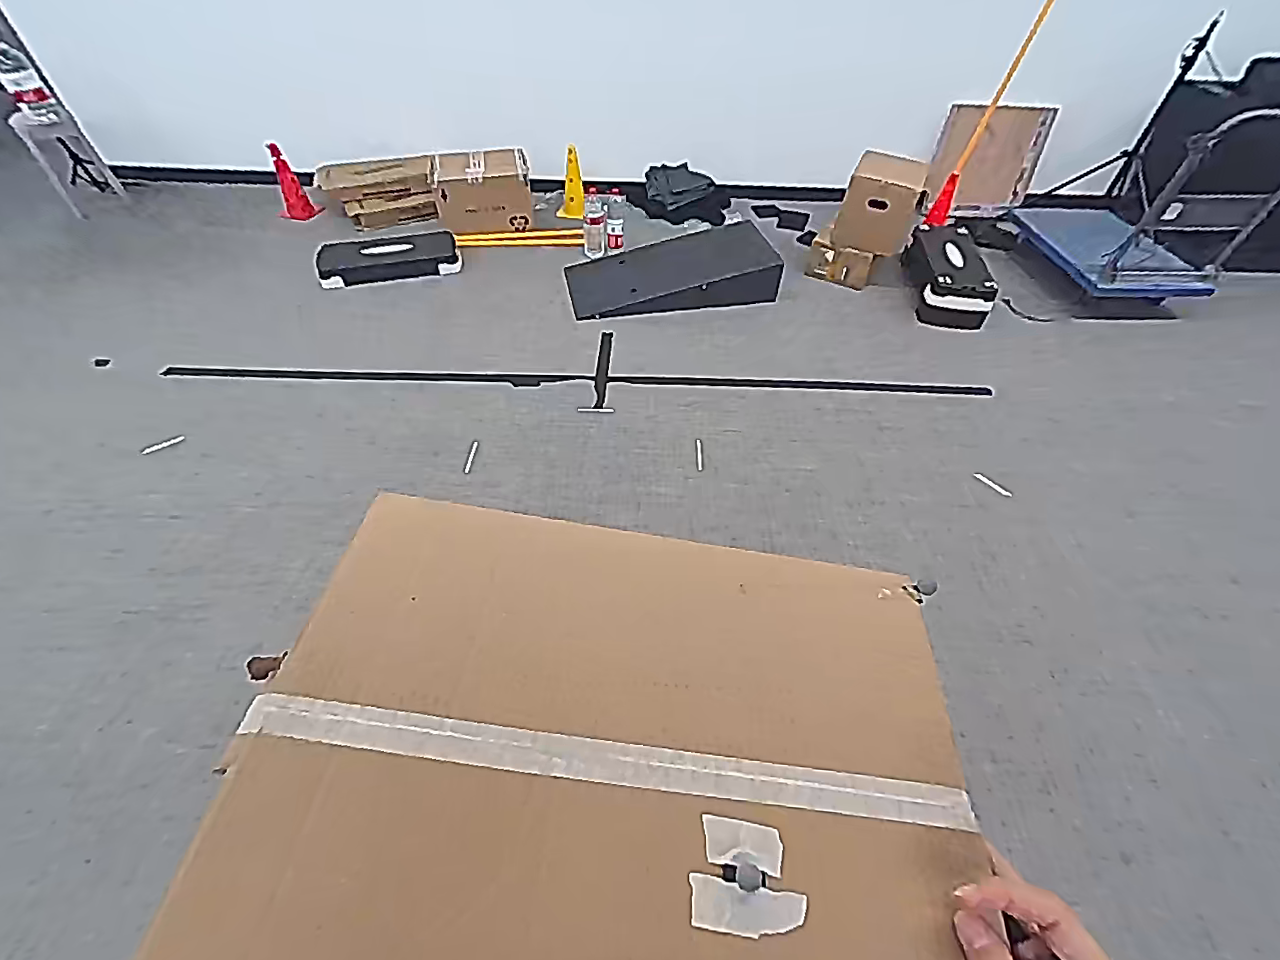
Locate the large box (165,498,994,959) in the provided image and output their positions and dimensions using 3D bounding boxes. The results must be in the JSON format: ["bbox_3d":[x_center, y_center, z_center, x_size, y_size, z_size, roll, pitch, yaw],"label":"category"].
[{"bbox_3d":[-0.027,0.252,0.432,0.408,0.320,0.320,10,51,-3],"label":"large box"}]
